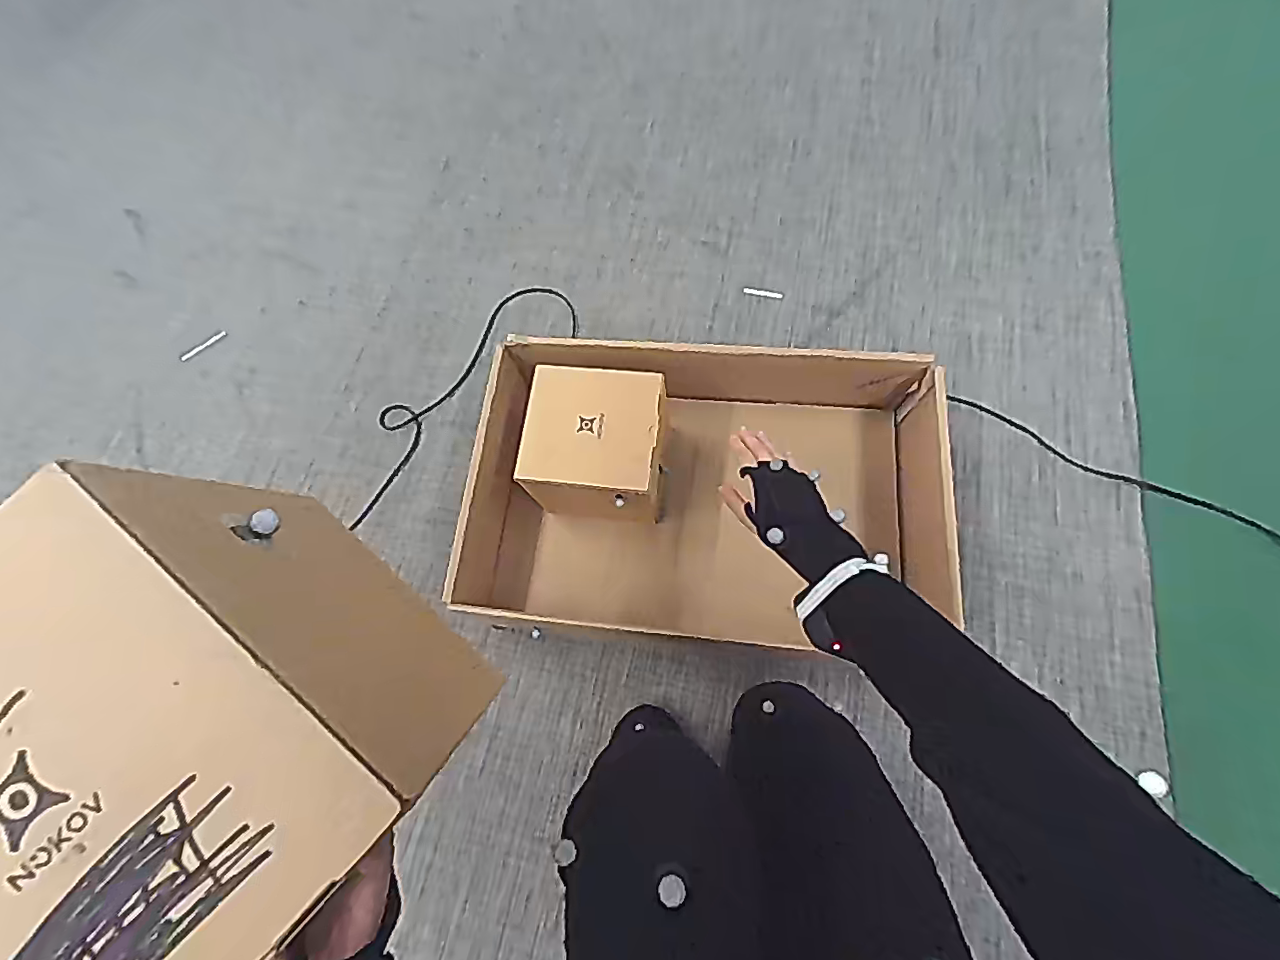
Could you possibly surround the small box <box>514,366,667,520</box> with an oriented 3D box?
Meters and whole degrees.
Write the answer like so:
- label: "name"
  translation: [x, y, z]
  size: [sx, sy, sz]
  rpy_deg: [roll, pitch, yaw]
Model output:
- label: "small box"
  translation: [-0.058, -0.045, 0.772]
  size: [0.179, 0.176, 0.168]
  rpy_deg: [6, 73, 6]
